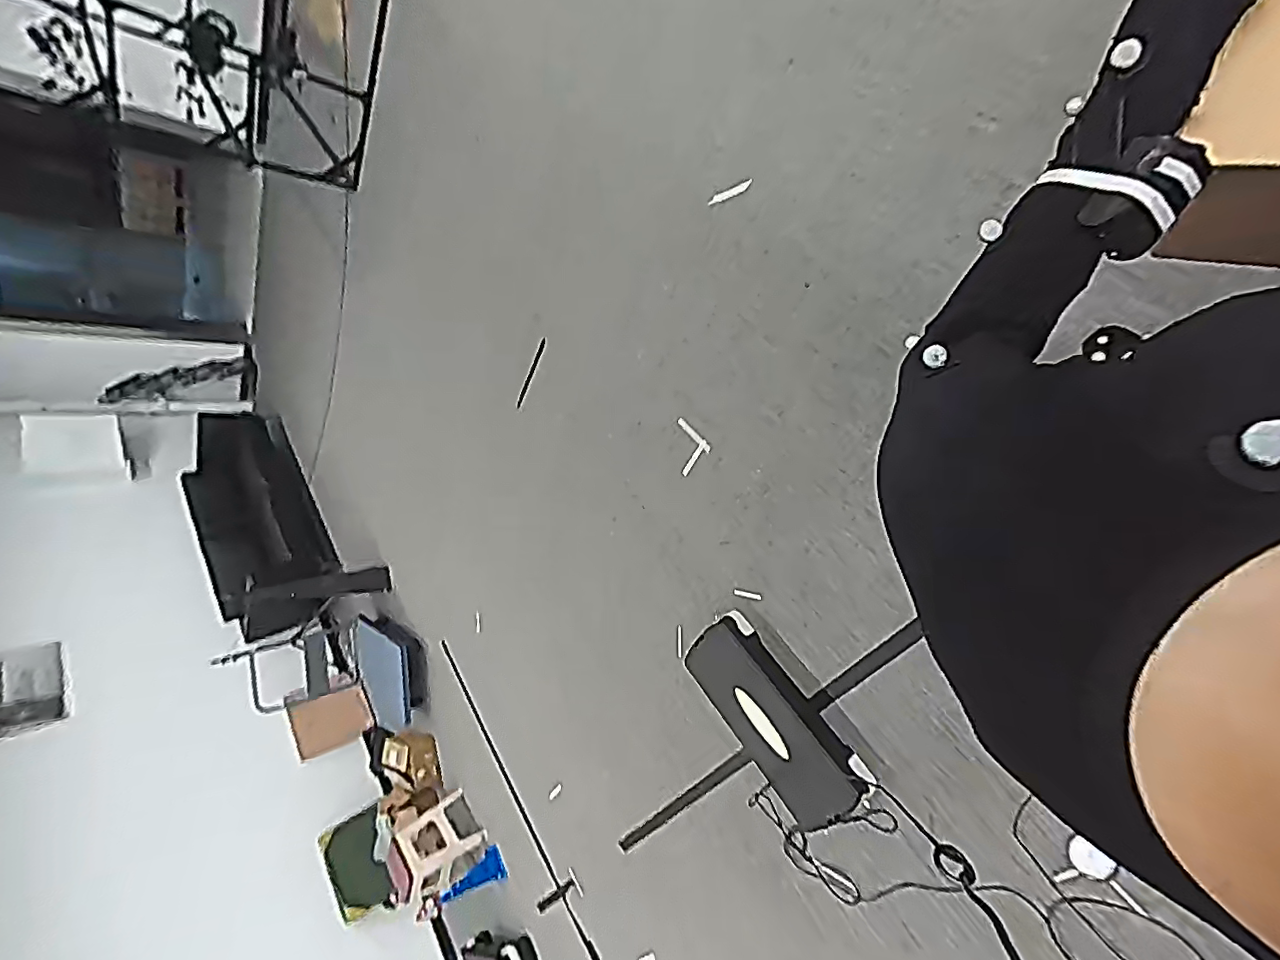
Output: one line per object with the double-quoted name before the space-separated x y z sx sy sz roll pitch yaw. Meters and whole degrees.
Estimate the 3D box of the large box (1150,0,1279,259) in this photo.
"large box" 0.643 -0.325 0.336 0.408 0.320 0.320 25 111 37
